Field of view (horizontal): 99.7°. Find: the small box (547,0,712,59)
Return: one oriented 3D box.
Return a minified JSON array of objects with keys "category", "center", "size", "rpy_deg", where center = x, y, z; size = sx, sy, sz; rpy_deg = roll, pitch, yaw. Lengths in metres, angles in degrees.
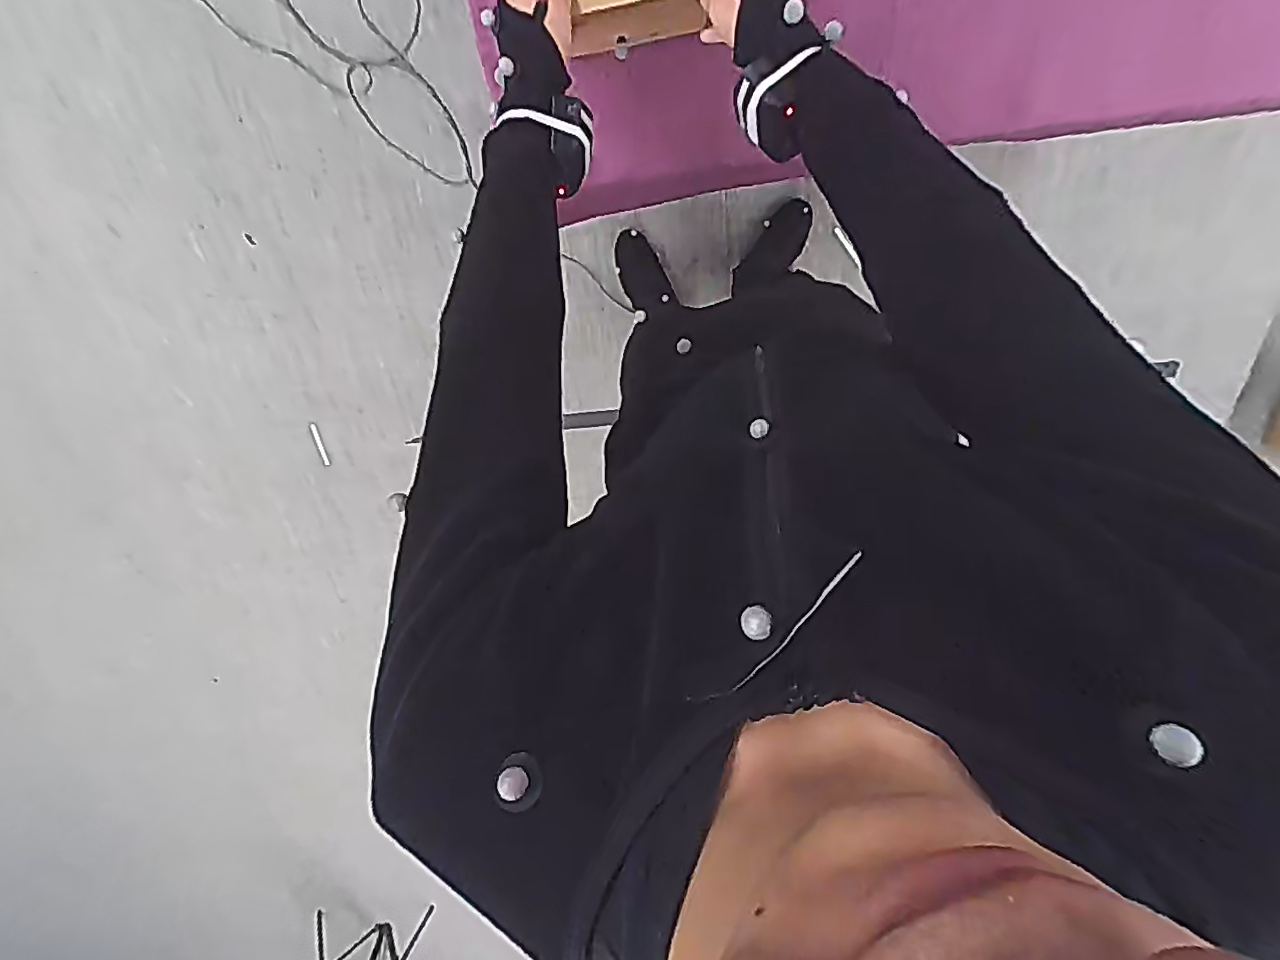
[{"category":"small box","center":[-0.021,-0.560,0.538],"size":[0.168,0.176,0.179],"rpy_deg":[-9,117,3]}]
